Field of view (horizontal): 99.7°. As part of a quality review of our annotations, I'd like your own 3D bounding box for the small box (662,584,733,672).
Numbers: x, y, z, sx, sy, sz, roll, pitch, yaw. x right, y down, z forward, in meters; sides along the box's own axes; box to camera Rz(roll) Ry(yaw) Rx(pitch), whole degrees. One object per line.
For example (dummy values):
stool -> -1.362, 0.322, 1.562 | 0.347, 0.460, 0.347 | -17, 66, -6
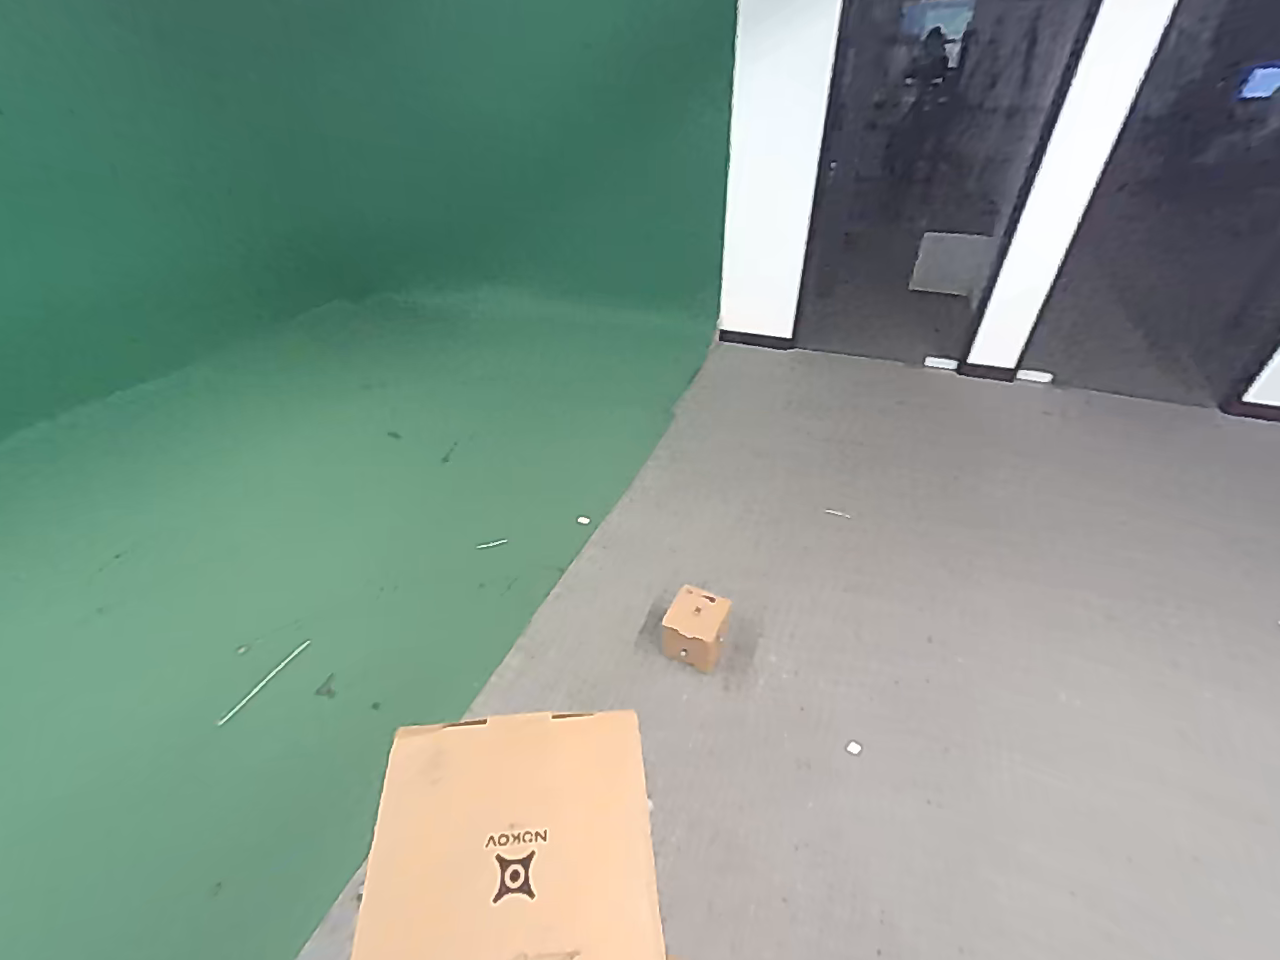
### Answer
small box -> 0.183, 0.466, 1.691 | 0.168, 0.176, 0.179 | 17, 43, 23
